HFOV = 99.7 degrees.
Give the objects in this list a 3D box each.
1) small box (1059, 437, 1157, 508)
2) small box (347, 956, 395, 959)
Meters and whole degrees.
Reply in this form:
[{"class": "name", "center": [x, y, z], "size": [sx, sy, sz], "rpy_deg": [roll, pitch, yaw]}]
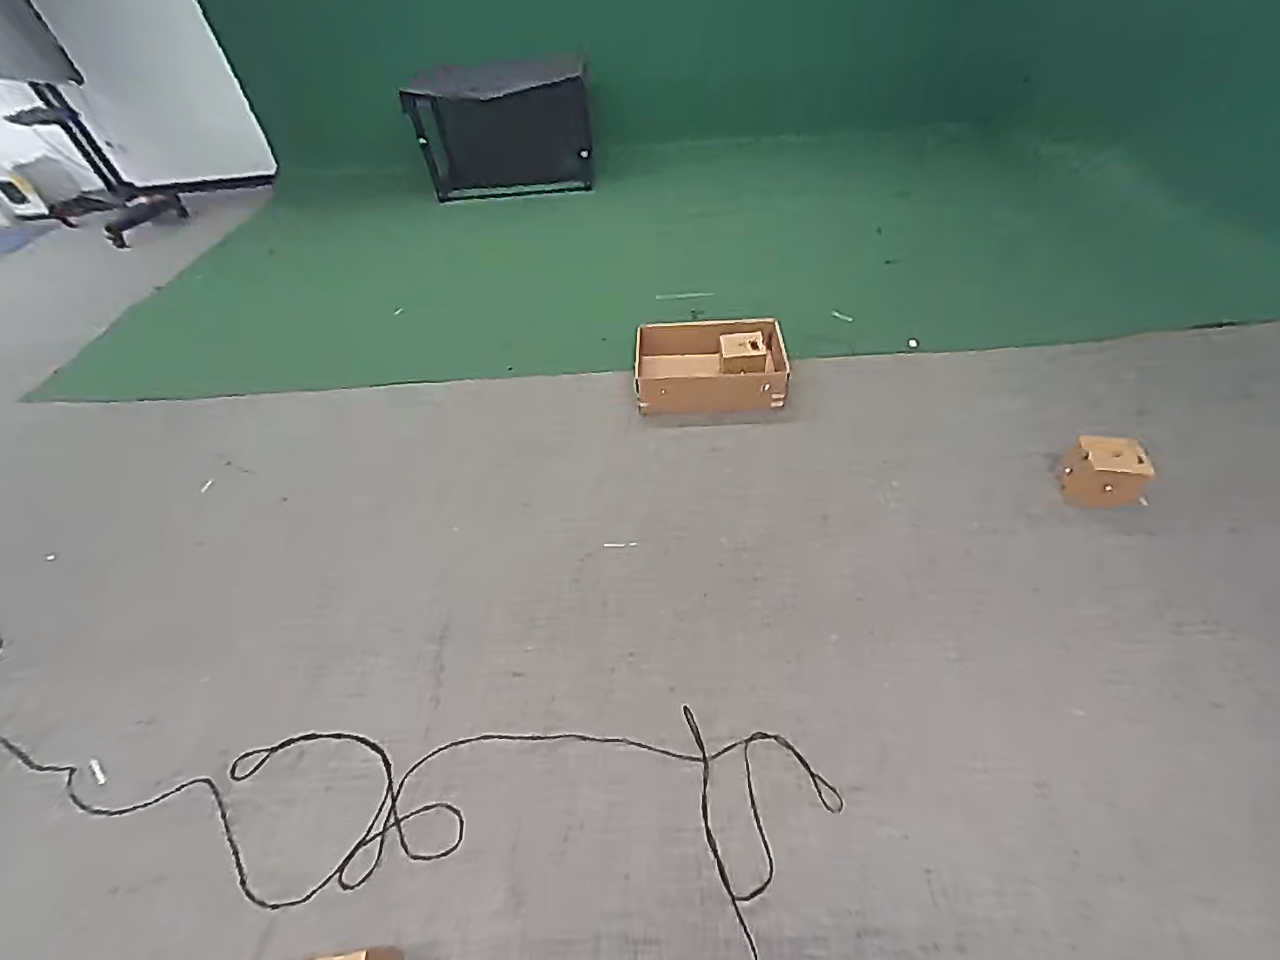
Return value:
[{"class": "small box", "center": [1.532, -0.023, 1.790], "size": [0.179, 0.176, 0.168], "rpy_deg": [6, 48, 12]}, {"class": "small box", "center": [-0.575, 1.032, 1.022], "size": [0.168, 0.176, 0.179], "rpy_deg": [-10, 46, -3]}]
